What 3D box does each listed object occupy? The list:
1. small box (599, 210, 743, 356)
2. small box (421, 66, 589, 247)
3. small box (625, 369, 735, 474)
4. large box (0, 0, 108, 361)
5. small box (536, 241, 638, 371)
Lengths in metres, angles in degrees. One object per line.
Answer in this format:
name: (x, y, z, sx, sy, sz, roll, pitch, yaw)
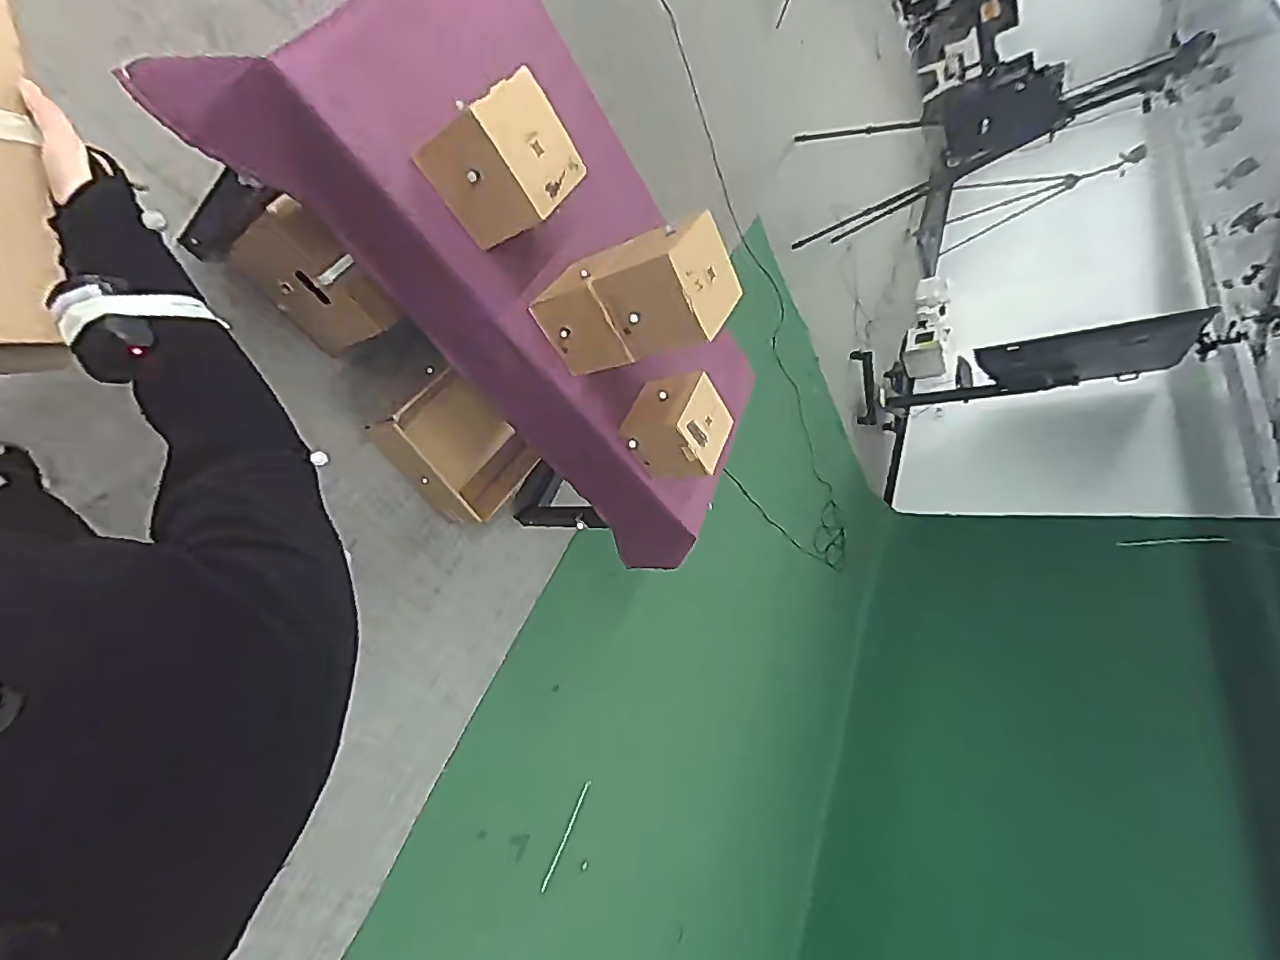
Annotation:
small box: (0.057, -0.348, 0.972, 0.168, 0.176, 0.179, 57, 50, -31)
small box: (-0.224, -0.525, 0.898, 0.179, 0.176, 0.168, 51, 53, -35)
small box: (0.089, -0.127, 1.253, 0.168, 0.176, 0.179, 52, 51, -35)
large box: (-0.702, -0.239, 0.368, 0.408, 0.320, 0.320, -19, 109, -49)
small box: (-0.073, -0.339, 1.074, 0.168, 0.176, 0.179, 56, 50, -32)
